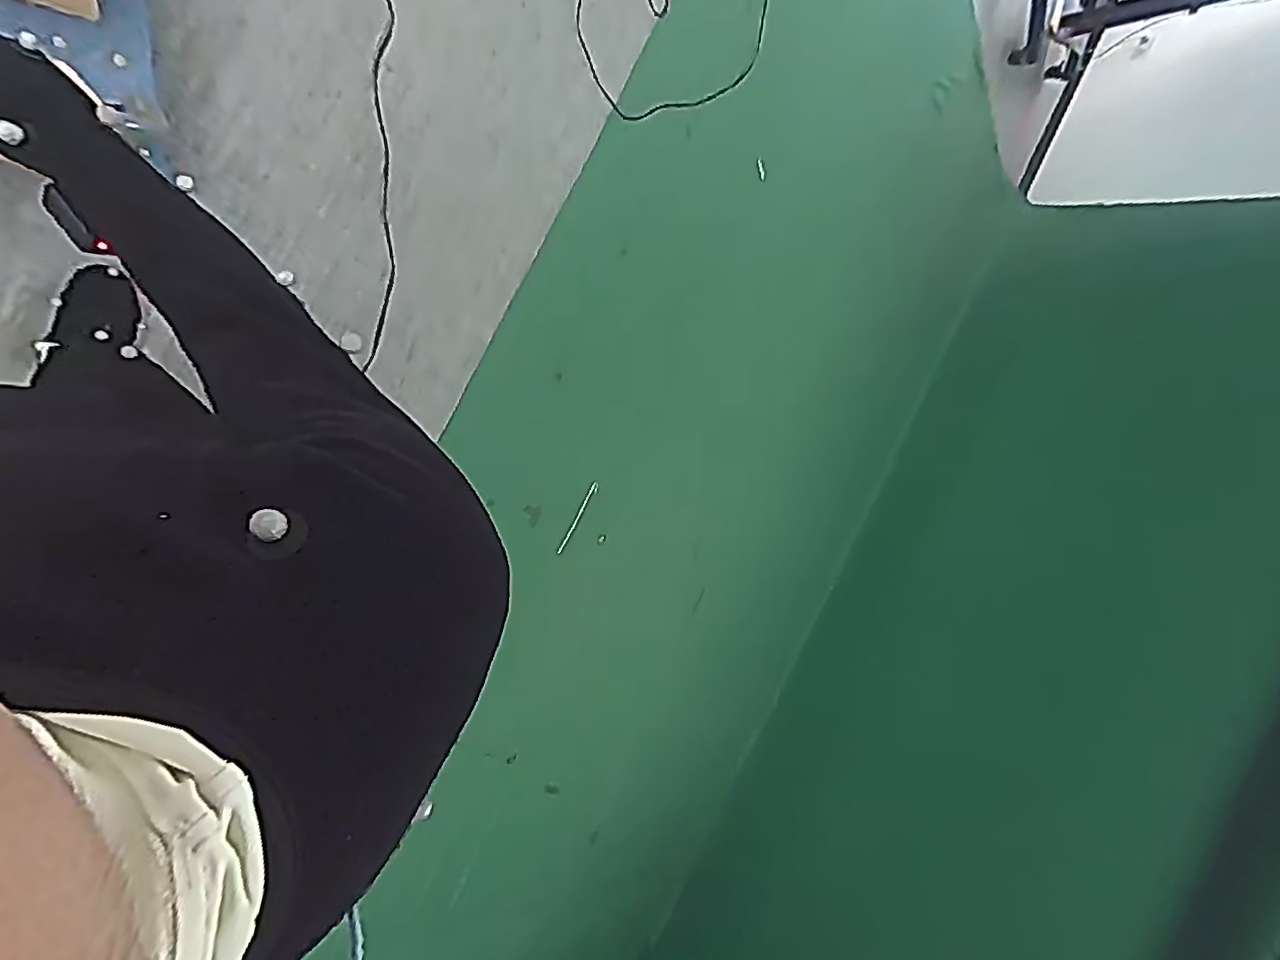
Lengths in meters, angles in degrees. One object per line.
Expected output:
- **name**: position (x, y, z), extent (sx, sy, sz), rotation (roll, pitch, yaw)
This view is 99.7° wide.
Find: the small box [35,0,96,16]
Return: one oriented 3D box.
- **small box**: position (-0.885, -0.800, 0.749), extent (0.168, 0.176, 0.179), rotation (-9, 115, -42)
